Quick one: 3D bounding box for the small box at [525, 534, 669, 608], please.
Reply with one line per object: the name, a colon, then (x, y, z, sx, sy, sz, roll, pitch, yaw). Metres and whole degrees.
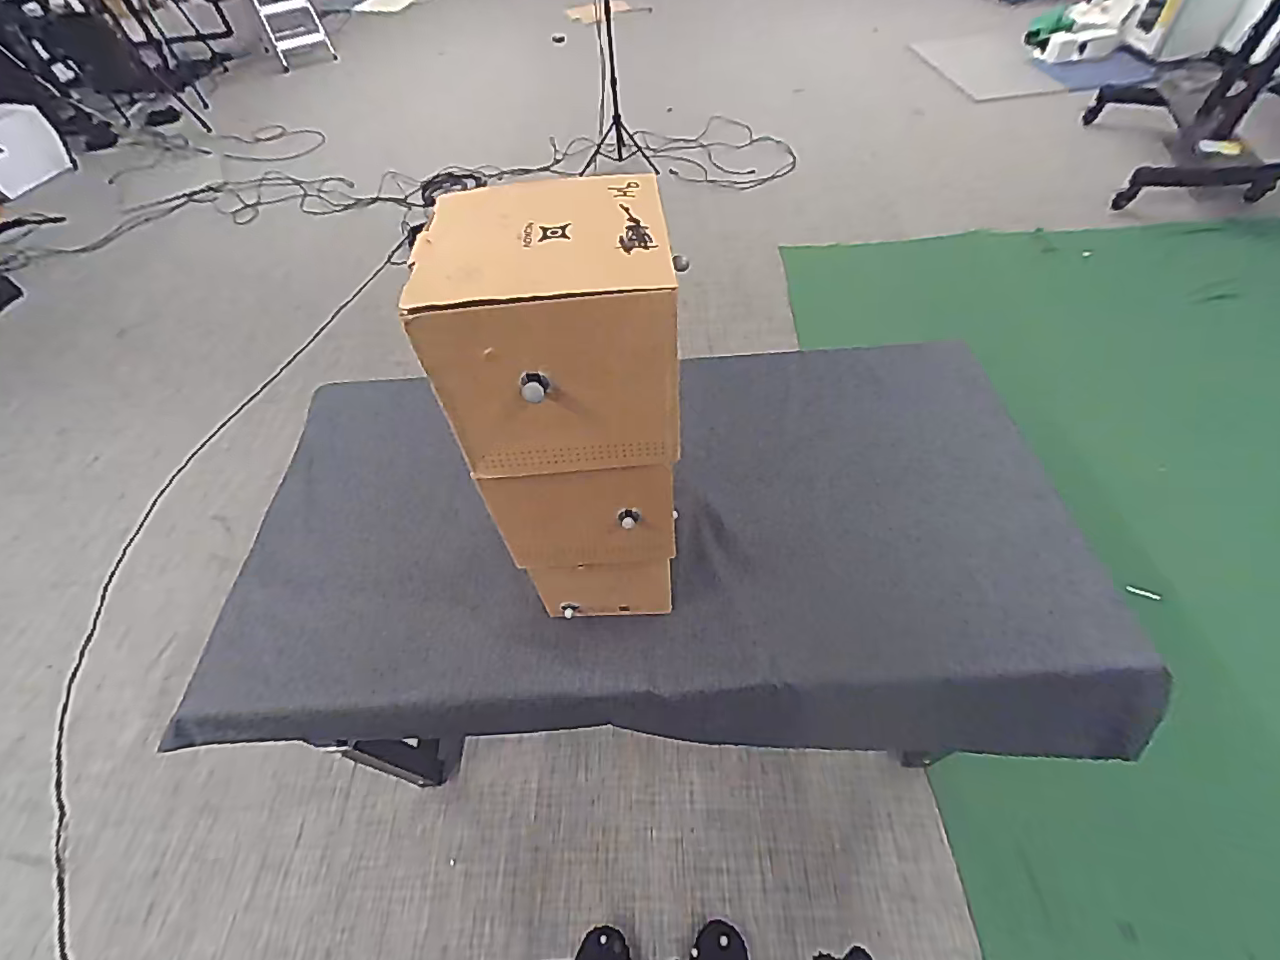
small box: (-0.047, 0.062, 0.721, 0.168, 0.176, 0.179, -2, 52, 3)

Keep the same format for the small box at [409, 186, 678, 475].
small box: (-0.063, -0.119, 0.453, 0.179, 0.176, 0.168, -7, 50, -2)

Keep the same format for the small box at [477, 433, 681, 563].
small box: (-0.056, -0.029, 0.567, 0.179, 0.176, 0.168, -6, 52, -1)
